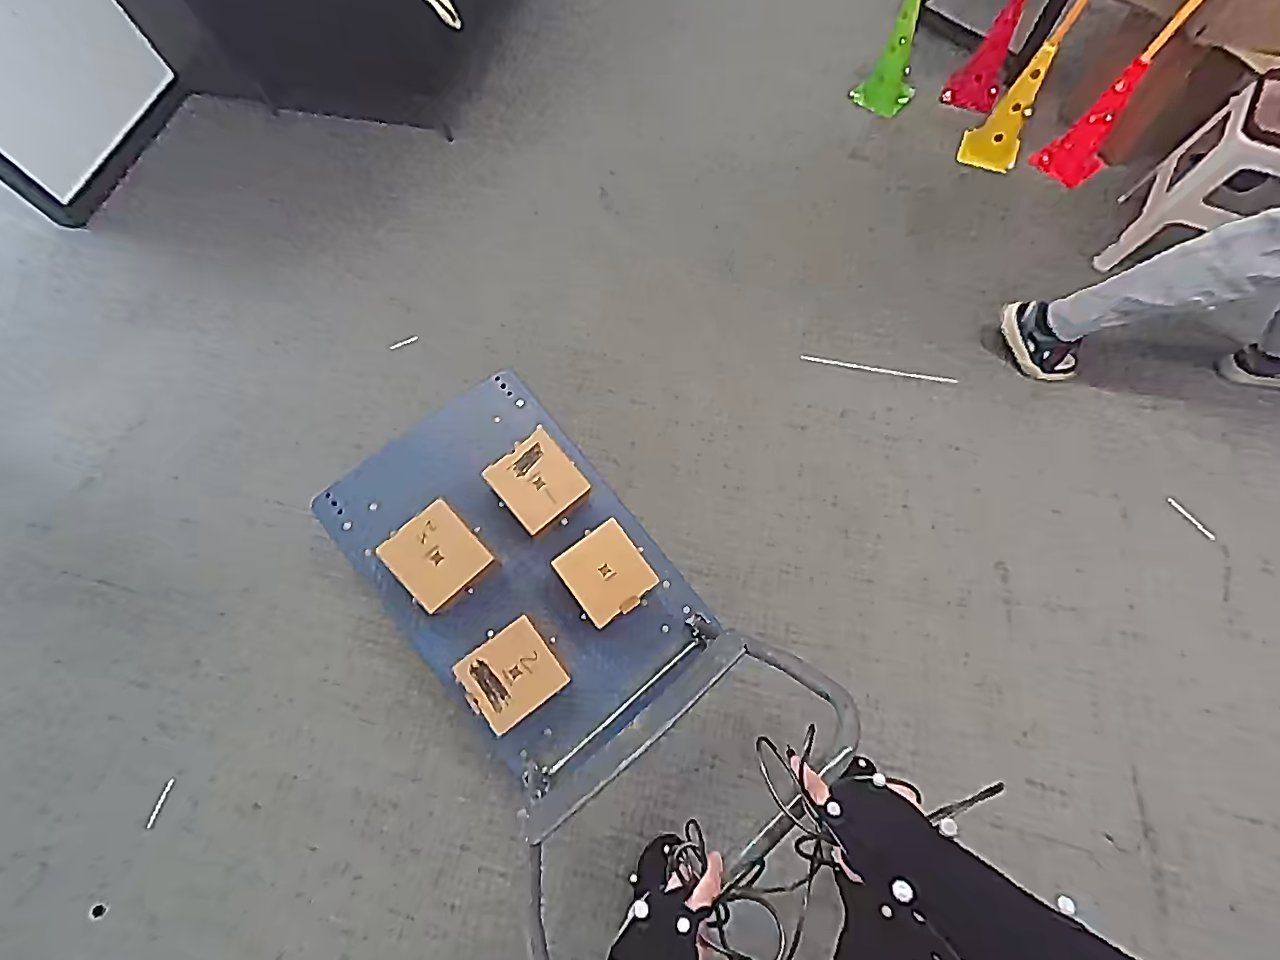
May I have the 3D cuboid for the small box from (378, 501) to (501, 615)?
[{"bbox_3d":[-0.425,0.170,1.183,0.168,0.176,0.179,-41,86,-13],"label":"small box"}]

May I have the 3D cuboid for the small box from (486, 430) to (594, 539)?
[{"bbox_3d":[-0.225,0.019,1.236,0.168,0.176,0.179,-39,87,-11],"label":"small box"}]

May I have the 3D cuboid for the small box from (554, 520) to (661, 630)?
[{"bbox_3d":[-0.079,0.214,1.218,0.168,0.176,0.179,-35,86,-12],"label":"small box"}]
